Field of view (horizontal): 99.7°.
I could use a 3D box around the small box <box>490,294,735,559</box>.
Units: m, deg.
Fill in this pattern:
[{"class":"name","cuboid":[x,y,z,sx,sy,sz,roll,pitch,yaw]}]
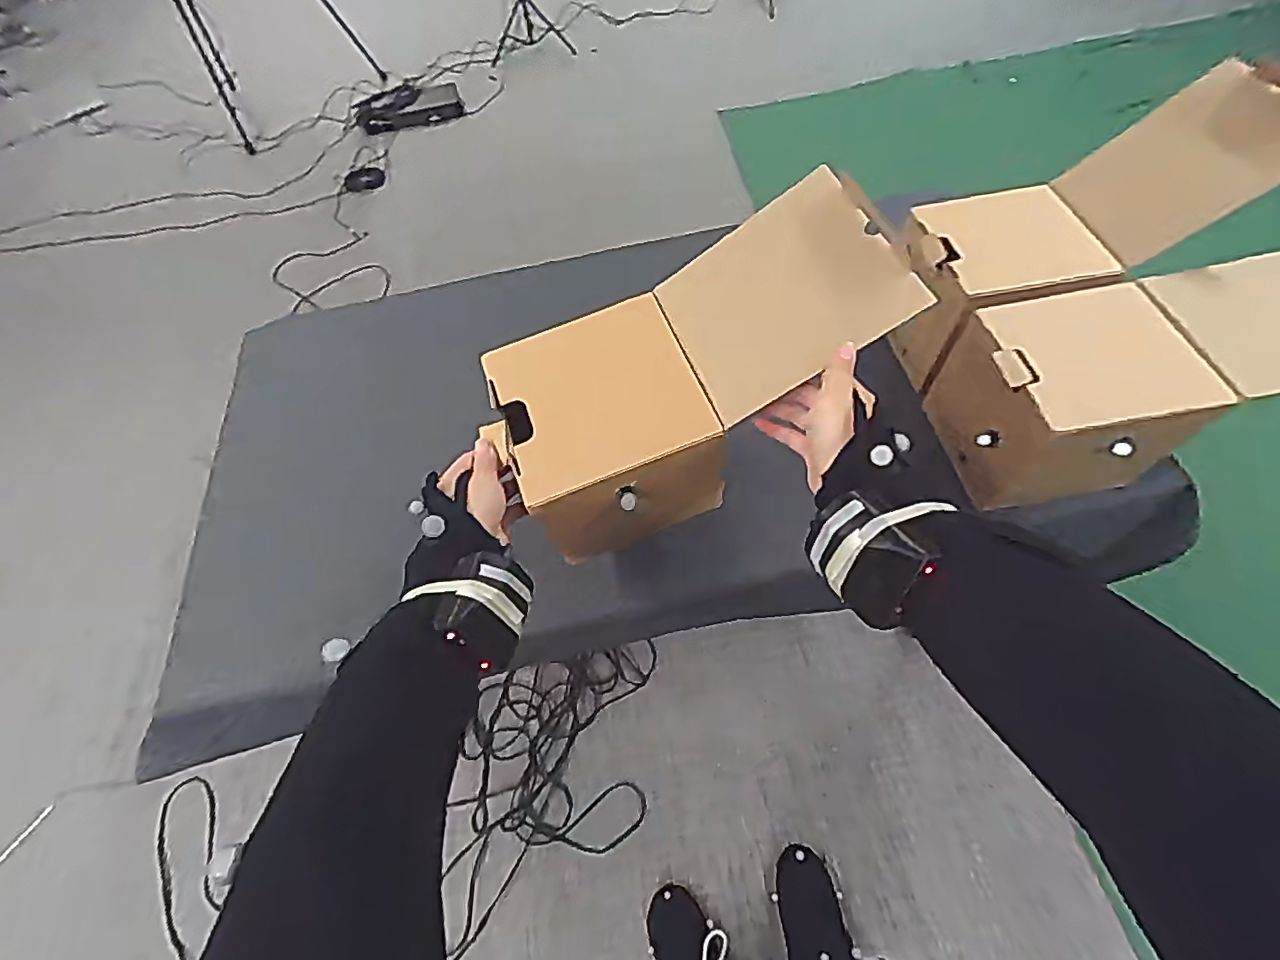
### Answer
[{"class":"small box","cuboid":[-0.021,-0.042,0.533,0.179,0.176,0.168,-21,65,-2]}]
